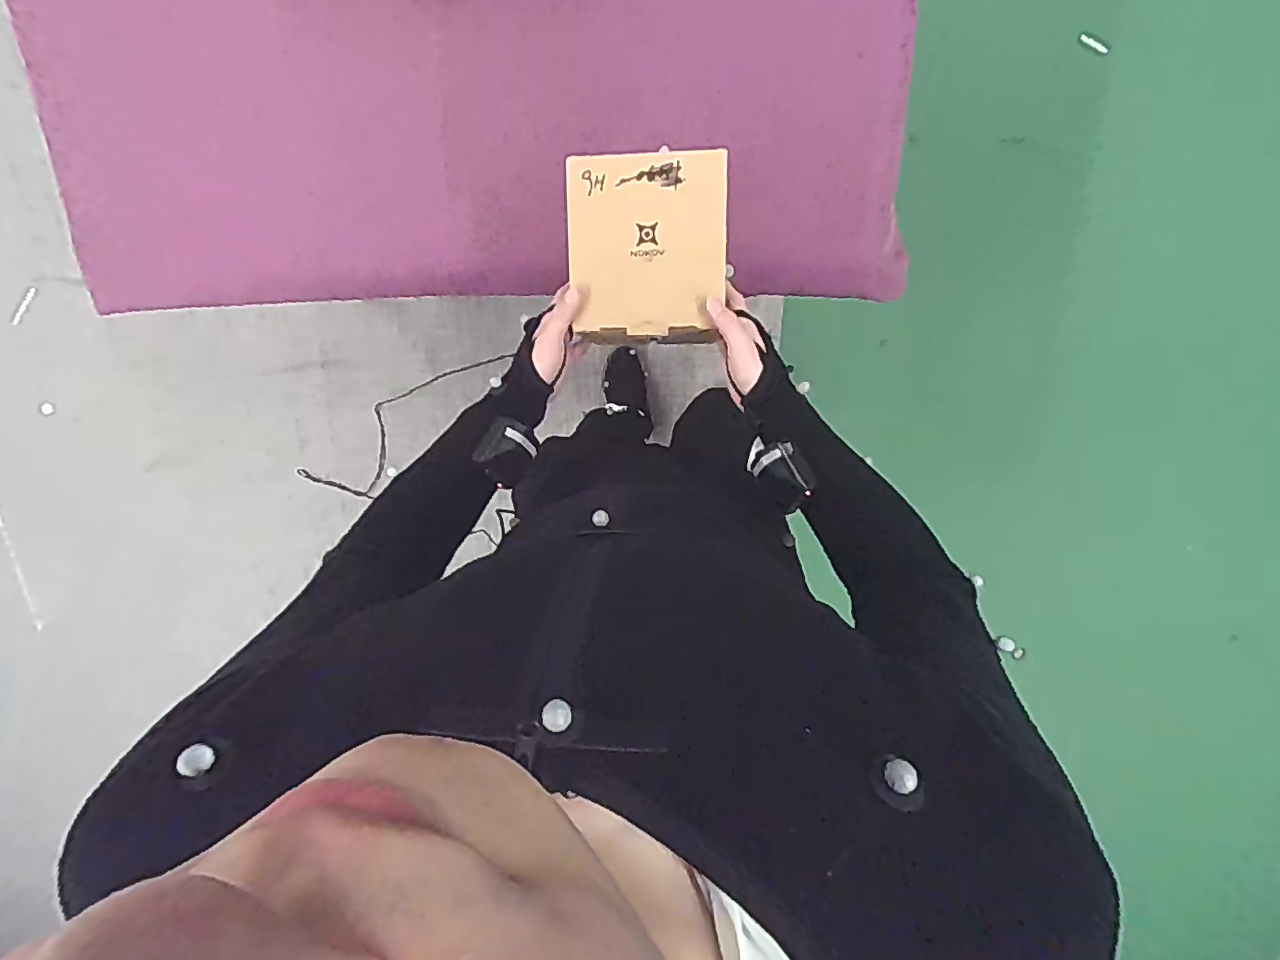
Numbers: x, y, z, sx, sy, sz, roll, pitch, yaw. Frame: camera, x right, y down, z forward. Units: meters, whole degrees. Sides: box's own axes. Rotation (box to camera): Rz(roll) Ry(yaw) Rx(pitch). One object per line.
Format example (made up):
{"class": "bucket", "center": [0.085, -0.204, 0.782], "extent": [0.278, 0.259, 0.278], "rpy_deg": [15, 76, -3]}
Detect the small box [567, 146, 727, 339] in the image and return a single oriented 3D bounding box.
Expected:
{"class": "small box", "center": [0.015, -0.260, 0.634], "extent": [0.168, 0.176, 0.179], "rpy_deg": [0, 100, 6]}
